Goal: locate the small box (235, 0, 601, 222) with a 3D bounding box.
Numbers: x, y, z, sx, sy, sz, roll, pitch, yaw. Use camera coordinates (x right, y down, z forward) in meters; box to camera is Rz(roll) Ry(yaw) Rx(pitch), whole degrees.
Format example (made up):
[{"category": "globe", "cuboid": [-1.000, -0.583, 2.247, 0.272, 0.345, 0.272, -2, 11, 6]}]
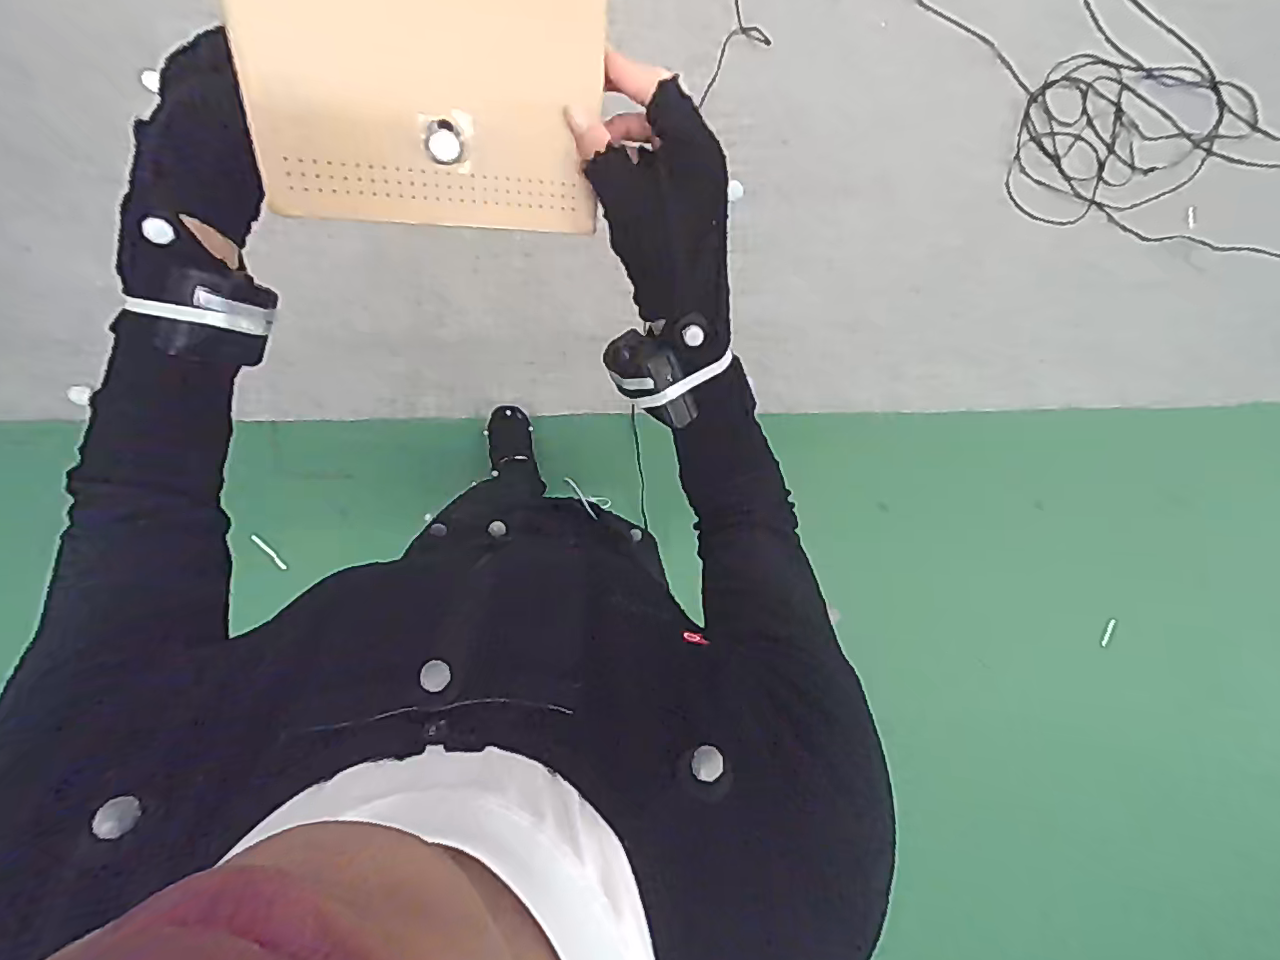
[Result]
[{"category": "small box", "cuboid": [-0.127, -0.263, 0.334, 0.179, 0.168, 0.176, -6, 124, -19]}]
